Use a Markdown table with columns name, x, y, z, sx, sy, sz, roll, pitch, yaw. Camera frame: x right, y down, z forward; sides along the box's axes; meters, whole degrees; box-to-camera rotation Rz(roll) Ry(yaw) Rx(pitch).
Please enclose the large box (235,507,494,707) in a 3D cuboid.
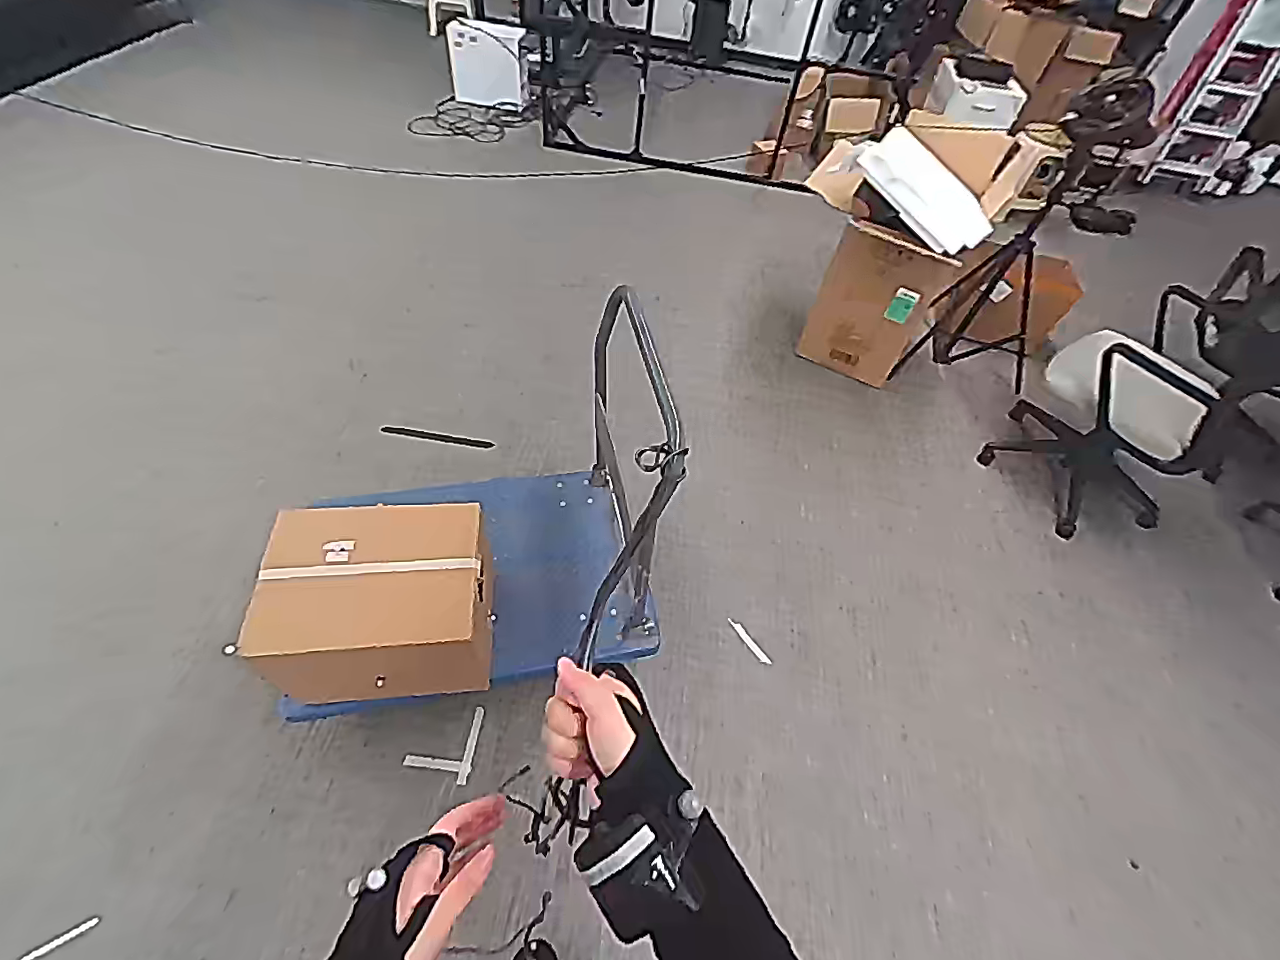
| name | x | y | z | sx | sy | sz | roll | pitch | yaw |
| --- | --- | --- | --- | --- | --- | --- | --- | --- | --- |
| large box | -0.540 | 0.279 | 1.172 | 0.408 | 0.320 | 0.320 | -2 | 52 | -9 |
